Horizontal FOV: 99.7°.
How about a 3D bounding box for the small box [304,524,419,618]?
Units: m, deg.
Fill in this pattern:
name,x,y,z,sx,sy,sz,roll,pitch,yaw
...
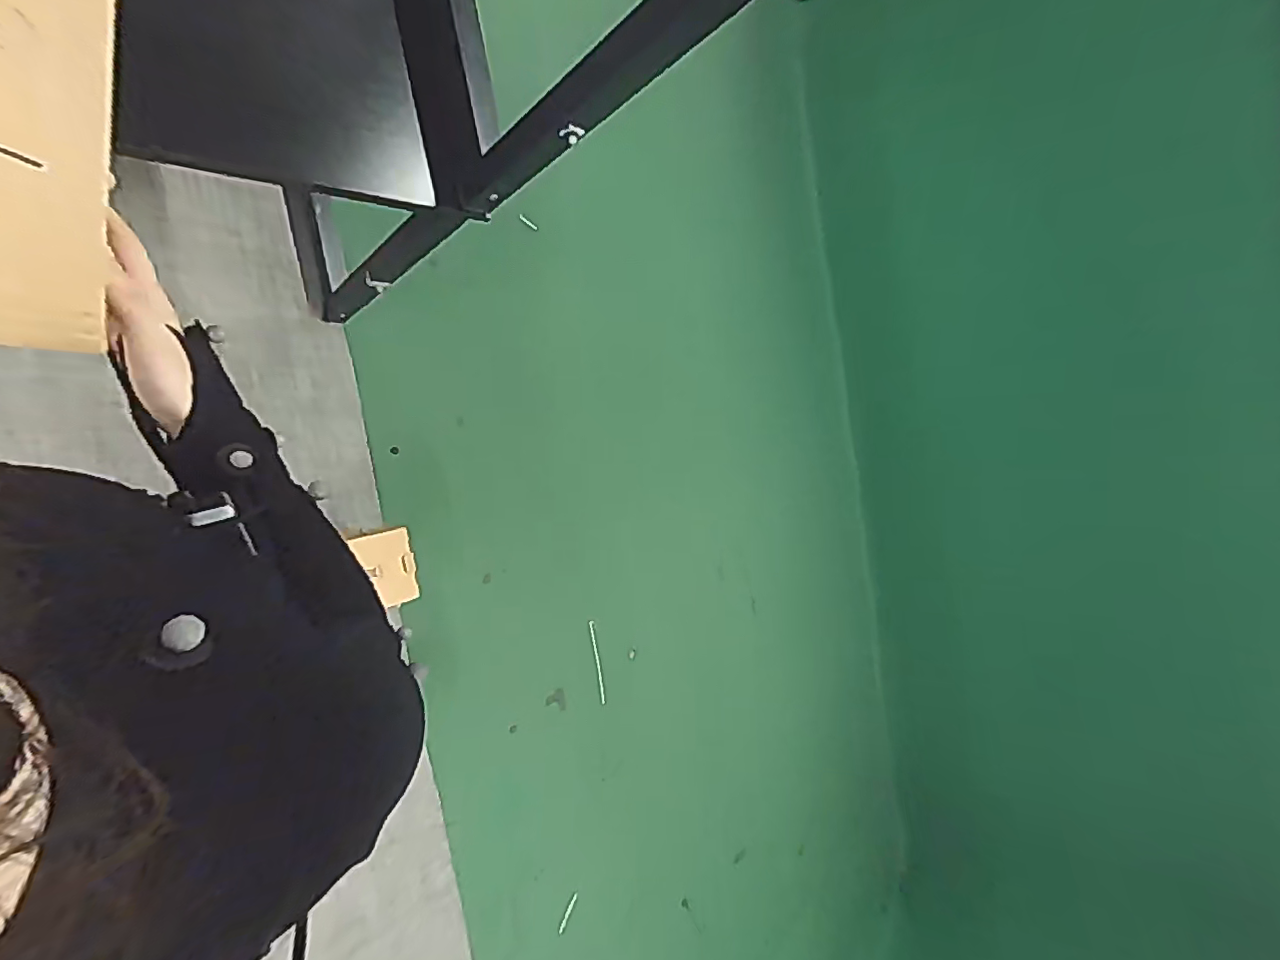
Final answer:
name,x,y,z,sx,sy,sz,roll,pitch,yaw
small box,-0.629,0.199,1.212,0.179,0.176,0.168,-14,96,-47
